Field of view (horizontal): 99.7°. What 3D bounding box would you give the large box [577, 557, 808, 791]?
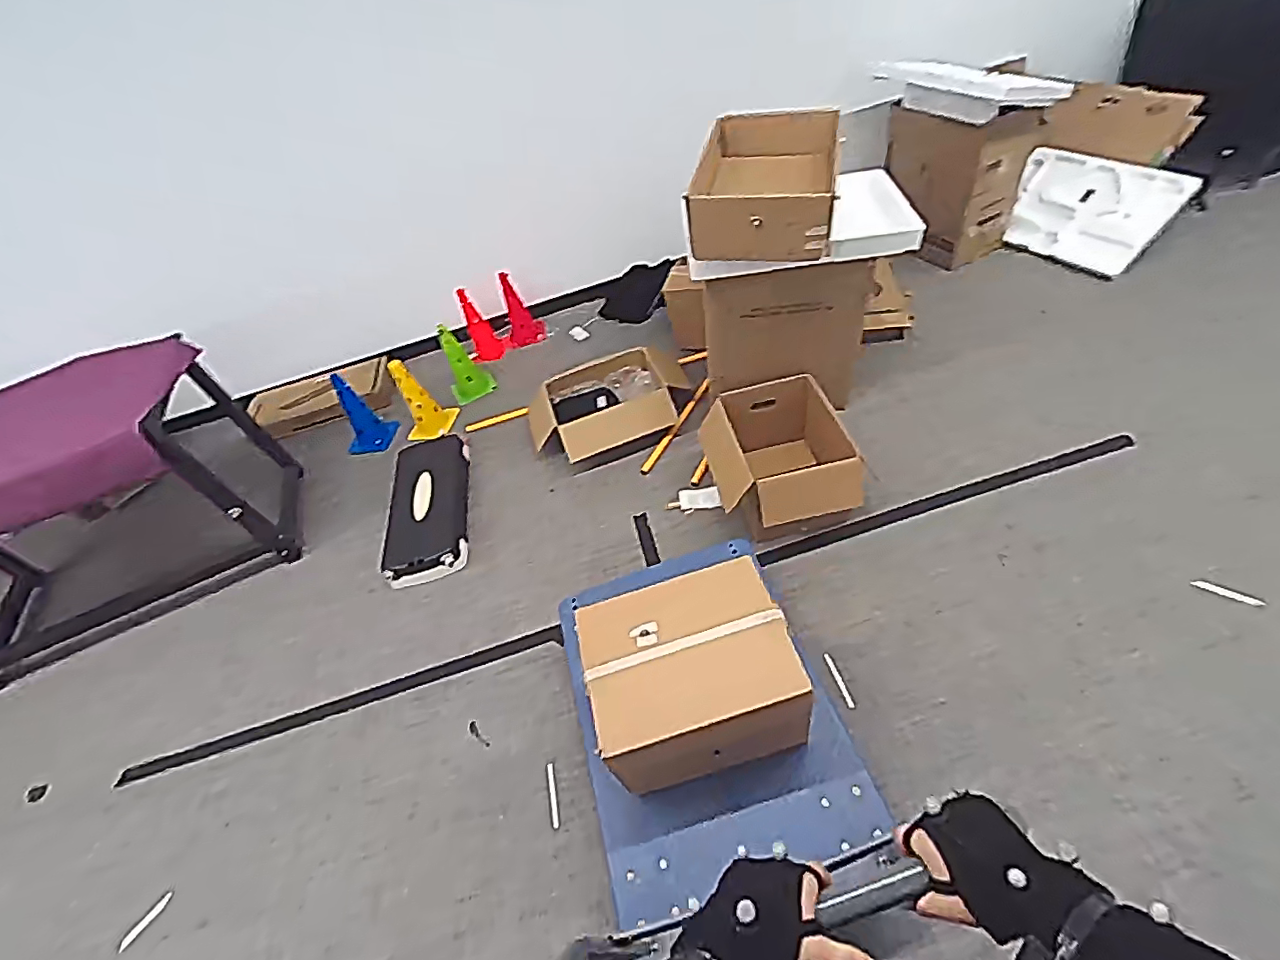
[{"bbox_3d":[0.116,0.433,1.196,0.408,0.320,0.320,-18,46,-1],"label":"large box"}]
